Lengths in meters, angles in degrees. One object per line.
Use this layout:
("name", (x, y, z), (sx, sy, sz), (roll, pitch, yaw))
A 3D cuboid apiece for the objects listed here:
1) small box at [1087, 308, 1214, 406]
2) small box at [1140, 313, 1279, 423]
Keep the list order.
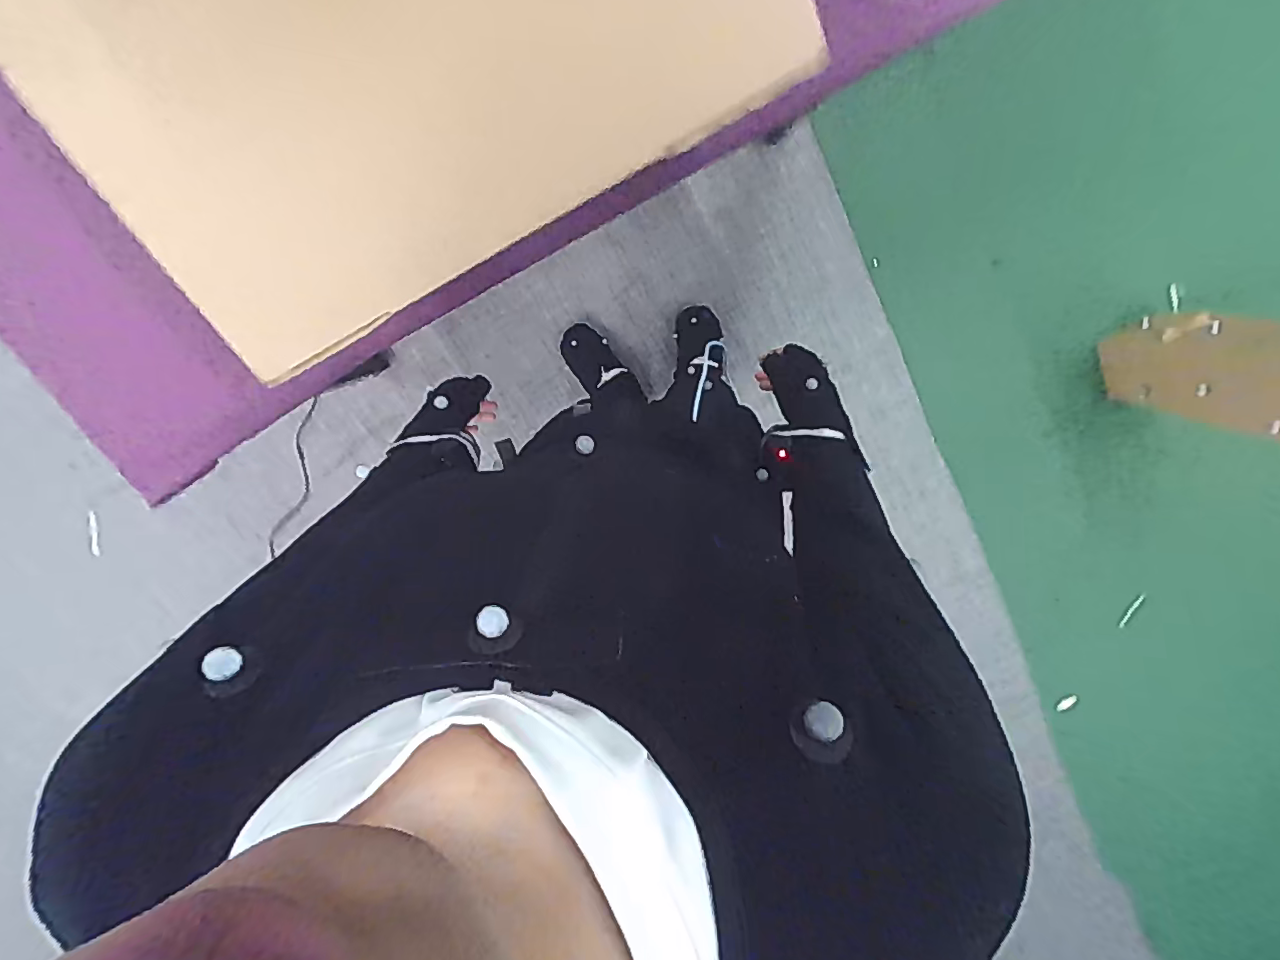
("small box", (1.274, -0.313, 1.348), (0.168, 0.176, 0.179), (-27, 108, 8))
("small box", (1.271, -0.254, 1.196), (0.168, 0.176, 0.179), (-26, 108, 8))
